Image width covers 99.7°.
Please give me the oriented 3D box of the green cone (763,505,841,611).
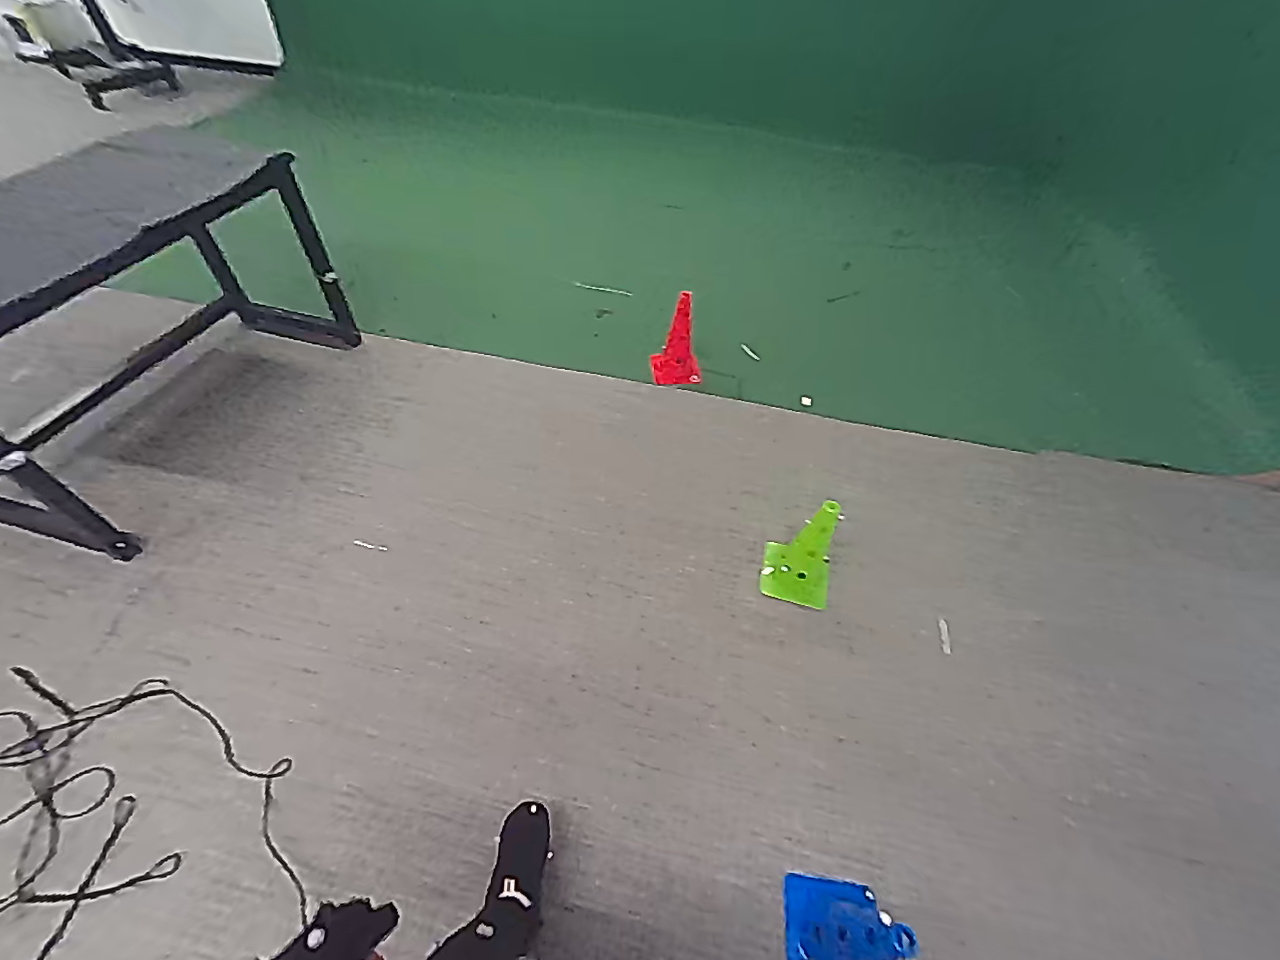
[{"bbox_3d":[0.500,0.193,1.565,0.200,0.368,0.202,13,50,8],"label":"green cone"}]
